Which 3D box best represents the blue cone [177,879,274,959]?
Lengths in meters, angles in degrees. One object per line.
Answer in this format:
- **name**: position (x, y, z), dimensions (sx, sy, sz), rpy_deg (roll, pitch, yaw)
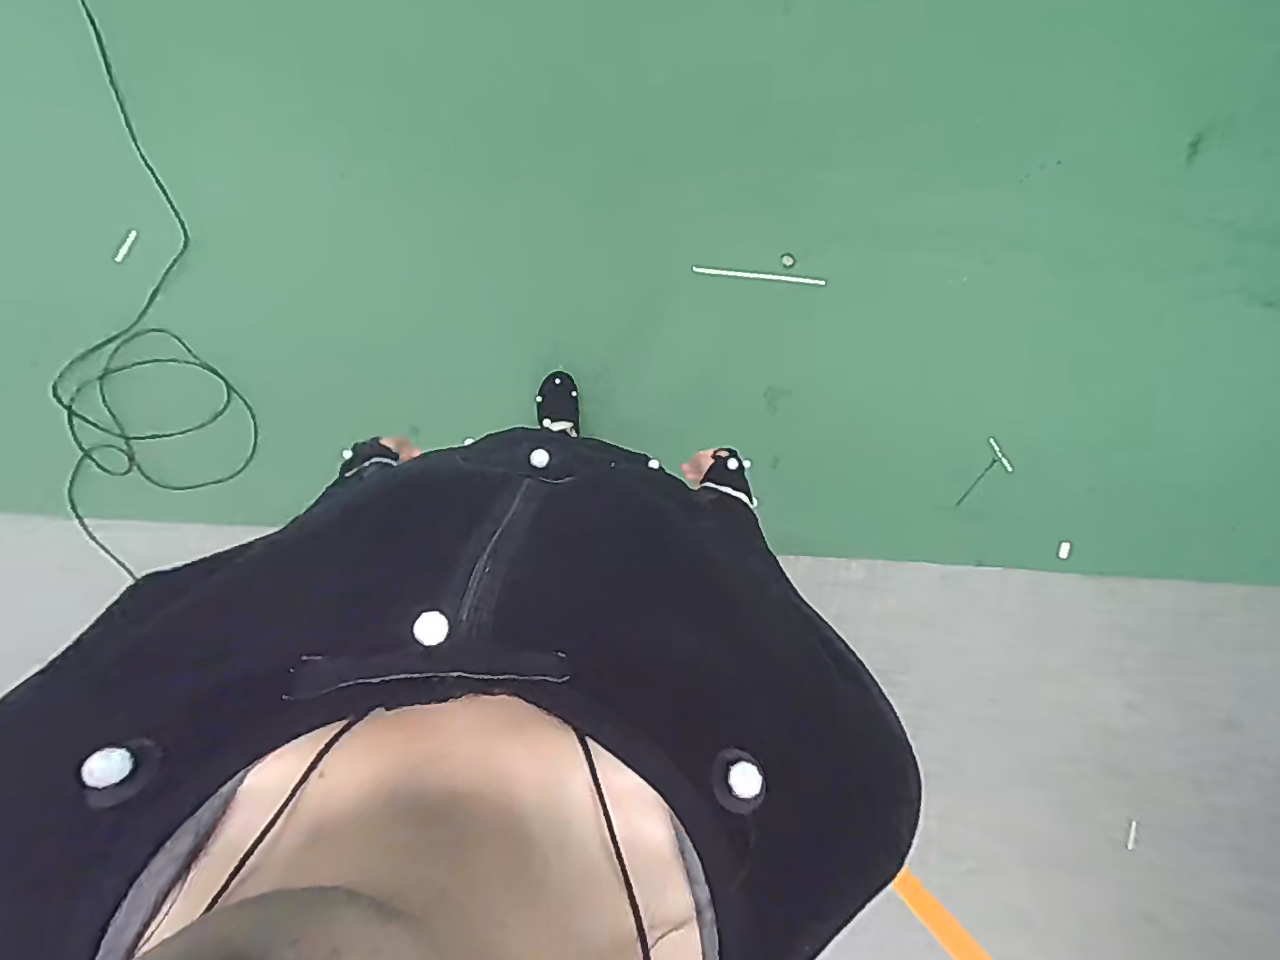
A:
- **blue cone**: position (-1.130, 1.250, 1.350), dimensions (0.193, 0.380, 0.192), rpy_deg (-40, 100, 2)
